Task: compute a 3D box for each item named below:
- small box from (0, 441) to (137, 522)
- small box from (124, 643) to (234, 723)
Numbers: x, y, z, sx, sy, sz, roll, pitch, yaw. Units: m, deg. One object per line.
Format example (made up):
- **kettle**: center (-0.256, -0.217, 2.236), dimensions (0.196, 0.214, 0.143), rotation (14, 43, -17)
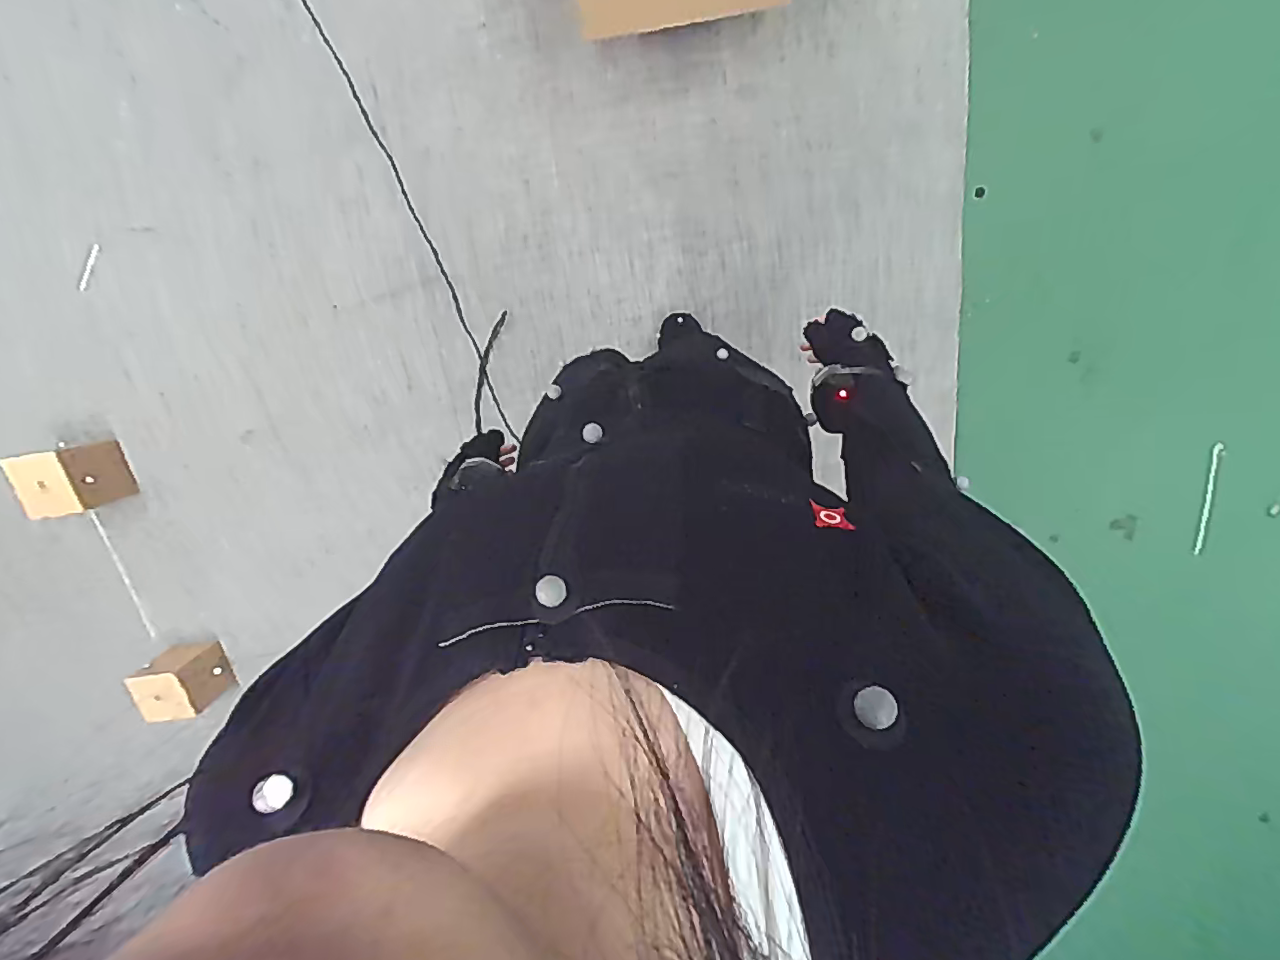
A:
- **small box**: center (-1.579, -0.003, 1.506), dimensions (0.168, 0.176, 0.179), rotation (-8, 108, 5)
- **small box**: center (-1.448, 0.638, 1.711), dimensions (0.179, 0.176, 0.168), rotation (-8, 108, 6)
